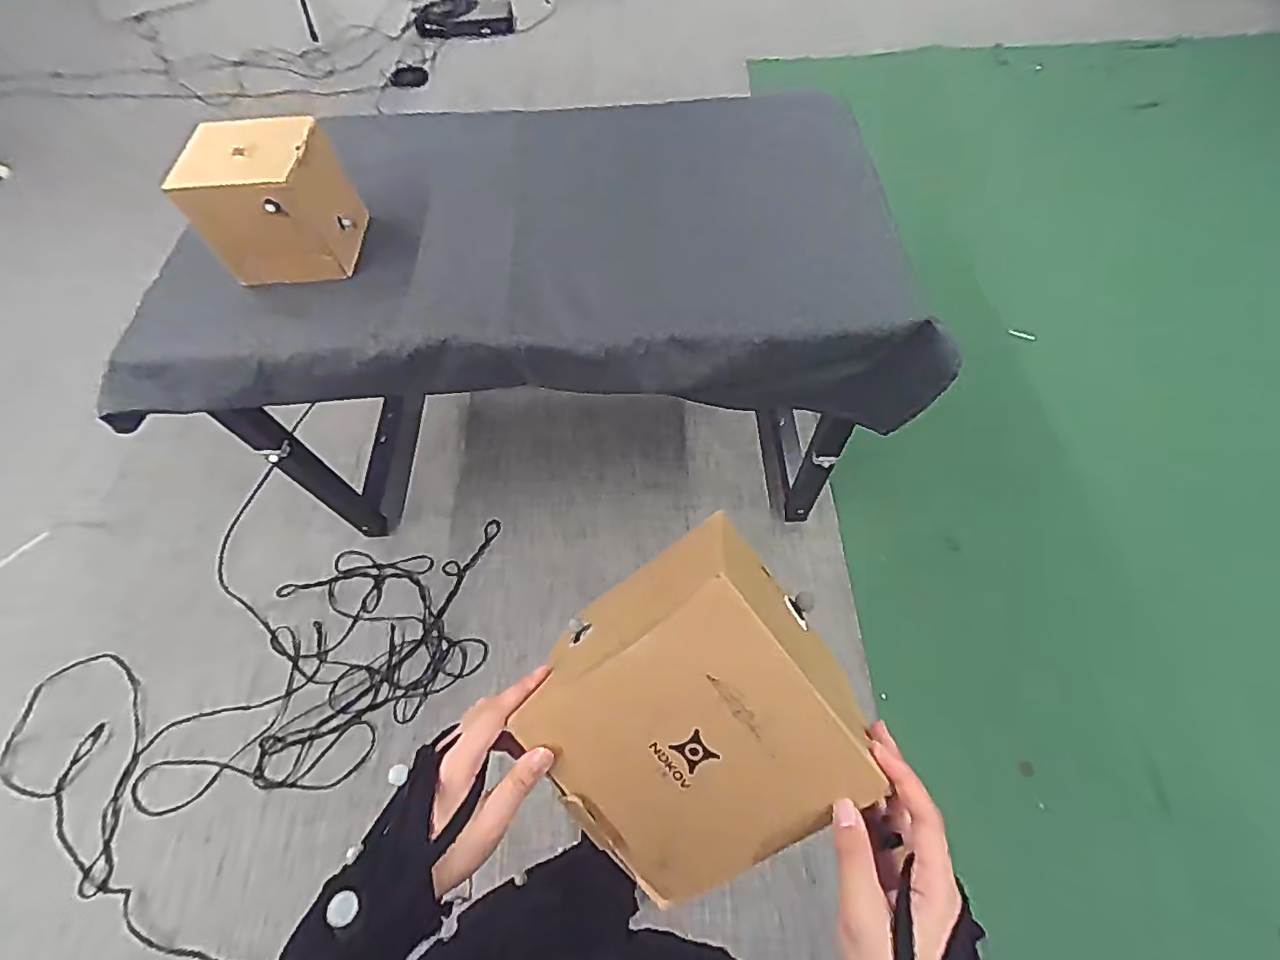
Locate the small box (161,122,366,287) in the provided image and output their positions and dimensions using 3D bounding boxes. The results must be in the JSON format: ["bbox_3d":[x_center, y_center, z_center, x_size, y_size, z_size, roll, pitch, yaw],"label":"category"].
[{"bbox_3d":[-0.563,-0.419,0.838,0.179,0.176,0.168,-4,61,0],"label":"small box"}]
